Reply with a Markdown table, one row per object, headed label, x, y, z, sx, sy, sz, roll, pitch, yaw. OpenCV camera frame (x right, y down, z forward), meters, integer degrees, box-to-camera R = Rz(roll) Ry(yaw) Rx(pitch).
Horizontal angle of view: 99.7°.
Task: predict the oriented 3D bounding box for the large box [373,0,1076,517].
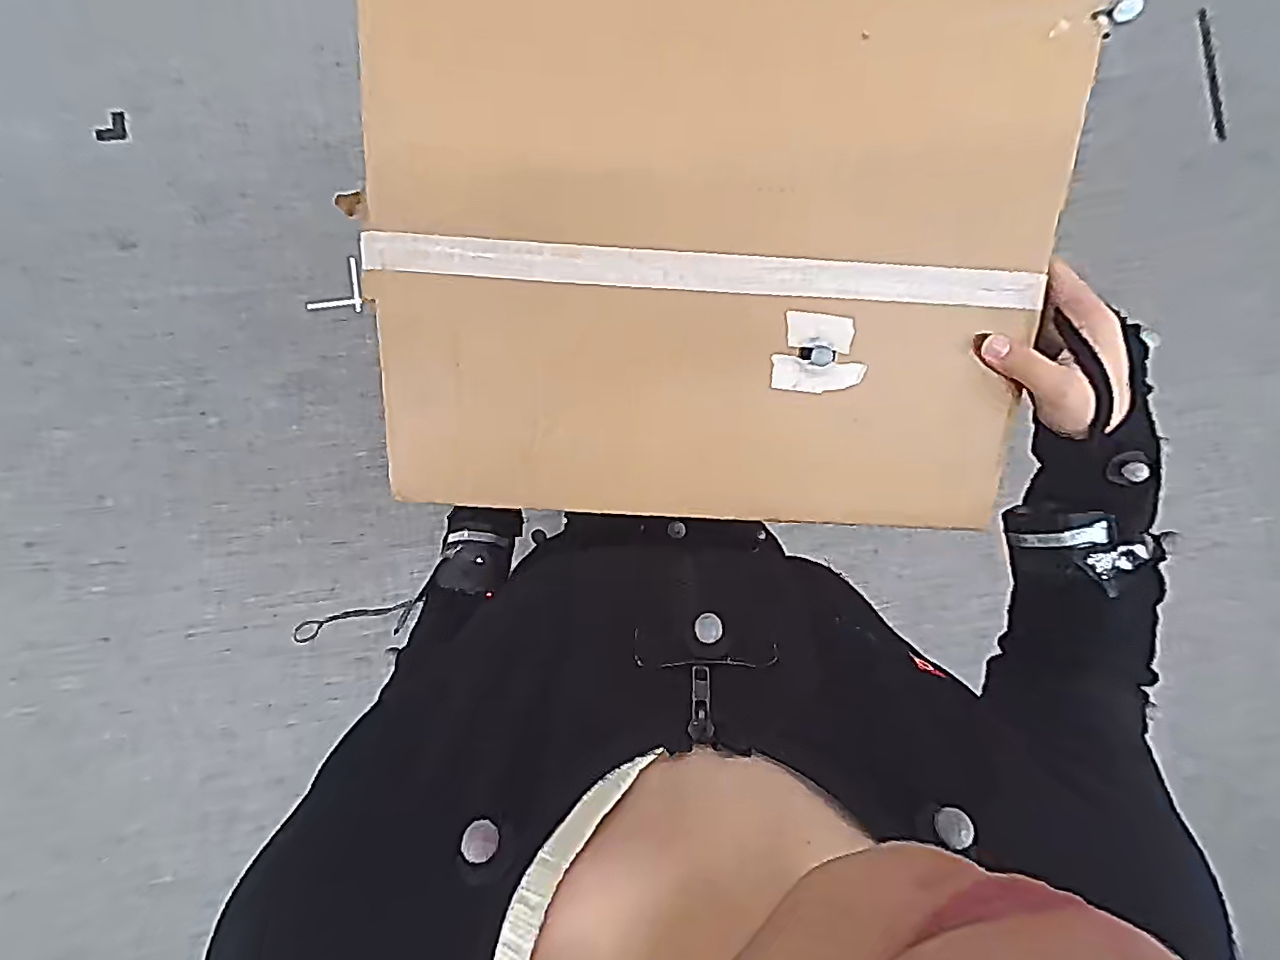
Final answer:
| label | x | y | z | sx | sy | sz | roll | pitch | yaw |
| --- | --- | --- | --- | --- | --- | --- | --- | --- | --- |
| large box | 0.040 | -0.162 | 0.480 | 0.408 | 0.320 | 0.320 | 2 | 106 | -3 |
